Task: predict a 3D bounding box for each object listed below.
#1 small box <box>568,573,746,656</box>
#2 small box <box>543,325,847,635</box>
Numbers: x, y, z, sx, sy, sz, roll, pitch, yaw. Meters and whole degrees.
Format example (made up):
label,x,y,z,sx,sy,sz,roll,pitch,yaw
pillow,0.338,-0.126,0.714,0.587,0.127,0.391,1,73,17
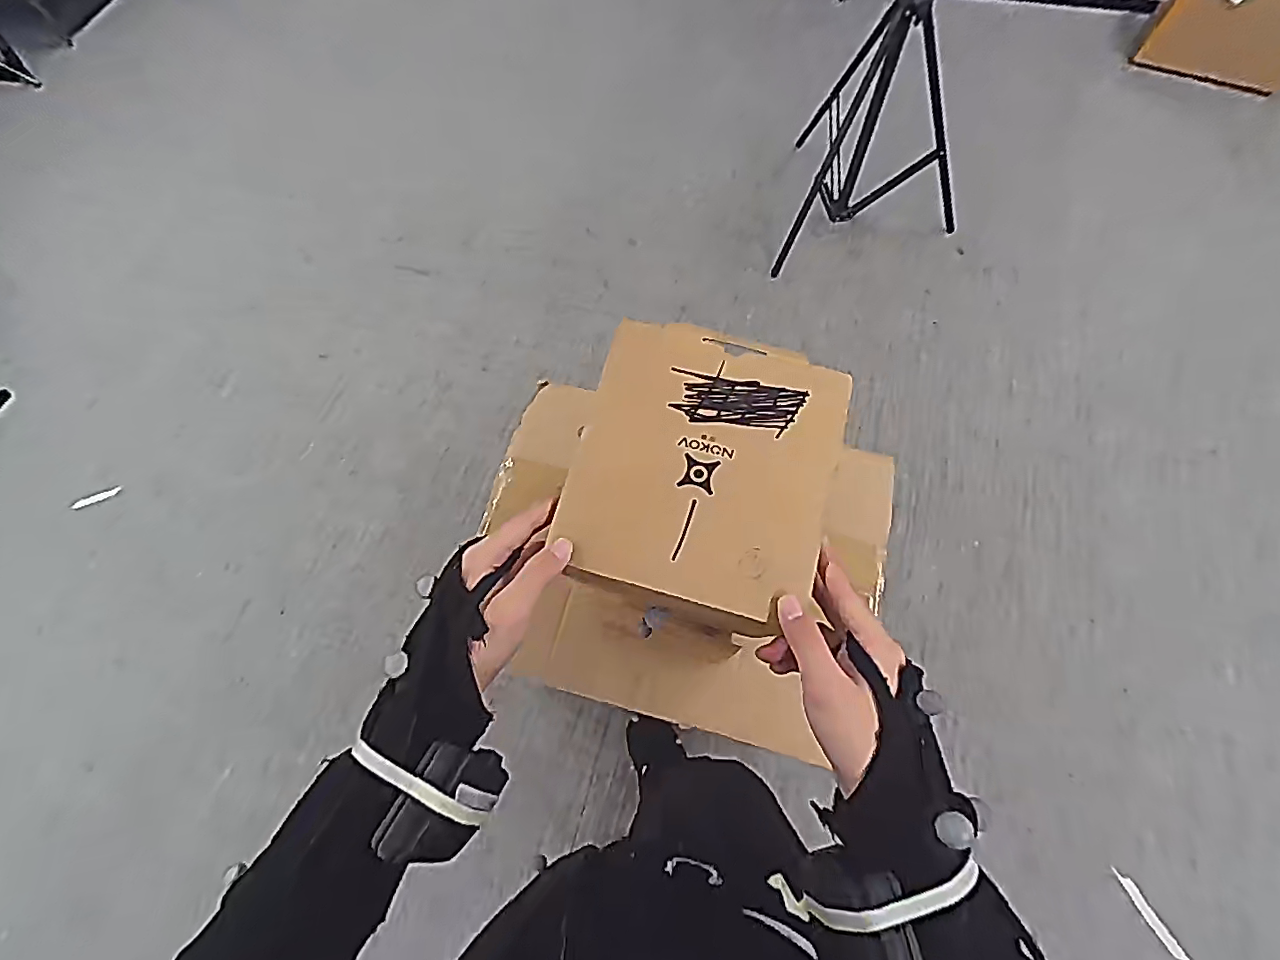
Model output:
label,x,y,z,sx,sy,sz,roll,pitch,yaw
small box,0.041,0.090,0.609,0.179,0.176,0.168,17,69,11
small box,0.041,0.013,0.428,0.168,0.176,0.179,16,74,6
